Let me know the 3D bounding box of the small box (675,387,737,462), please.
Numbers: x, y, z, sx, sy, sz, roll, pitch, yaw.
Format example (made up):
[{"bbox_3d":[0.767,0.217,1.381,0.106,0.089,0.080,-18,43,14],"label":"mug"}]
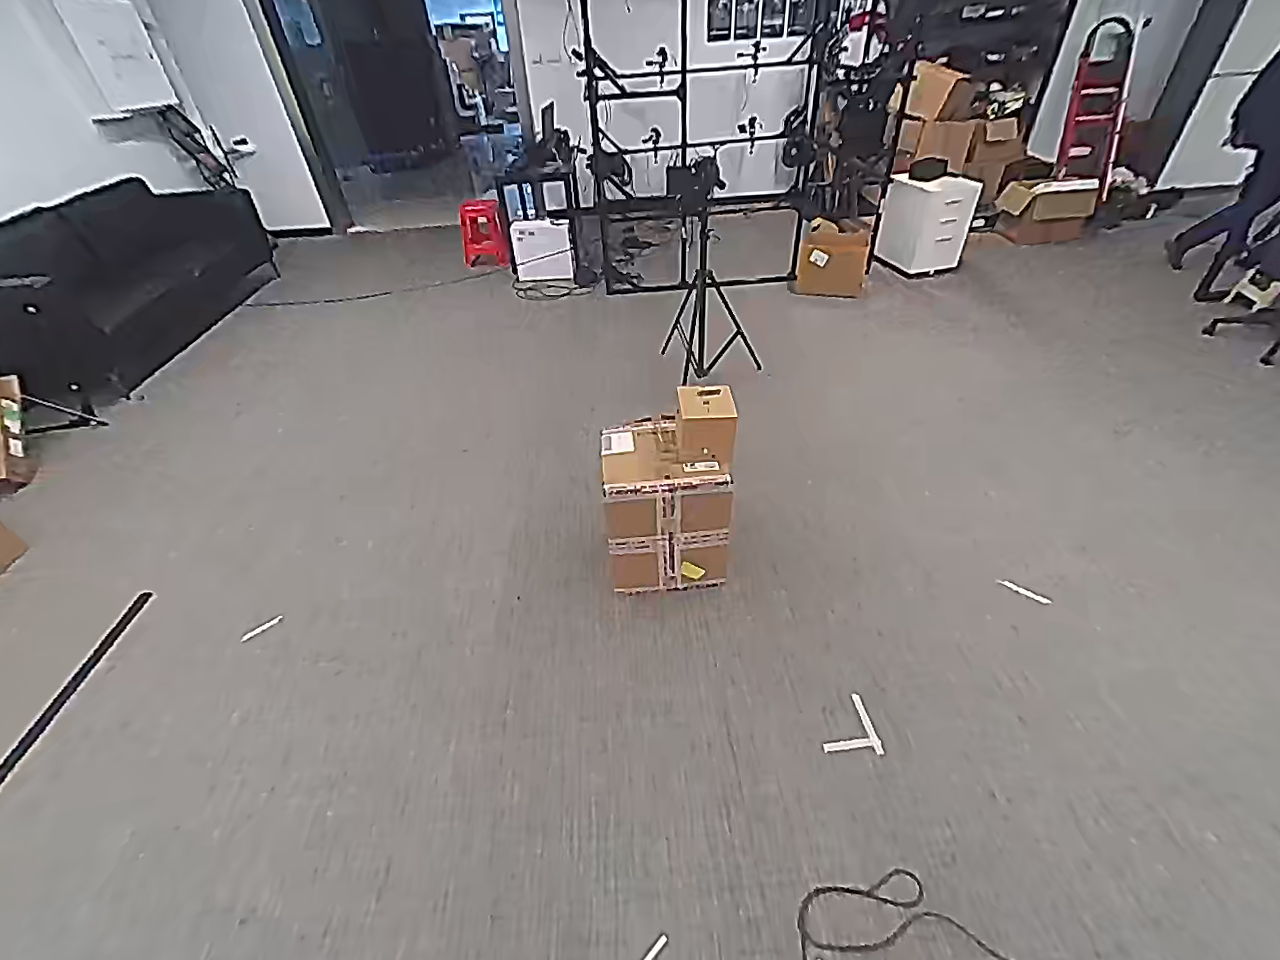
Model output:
[{"bbox_3d":[0.198,-0.172,1.681,0.168,0.176,0.179,-2,42,-1],"label":"small box"}]
